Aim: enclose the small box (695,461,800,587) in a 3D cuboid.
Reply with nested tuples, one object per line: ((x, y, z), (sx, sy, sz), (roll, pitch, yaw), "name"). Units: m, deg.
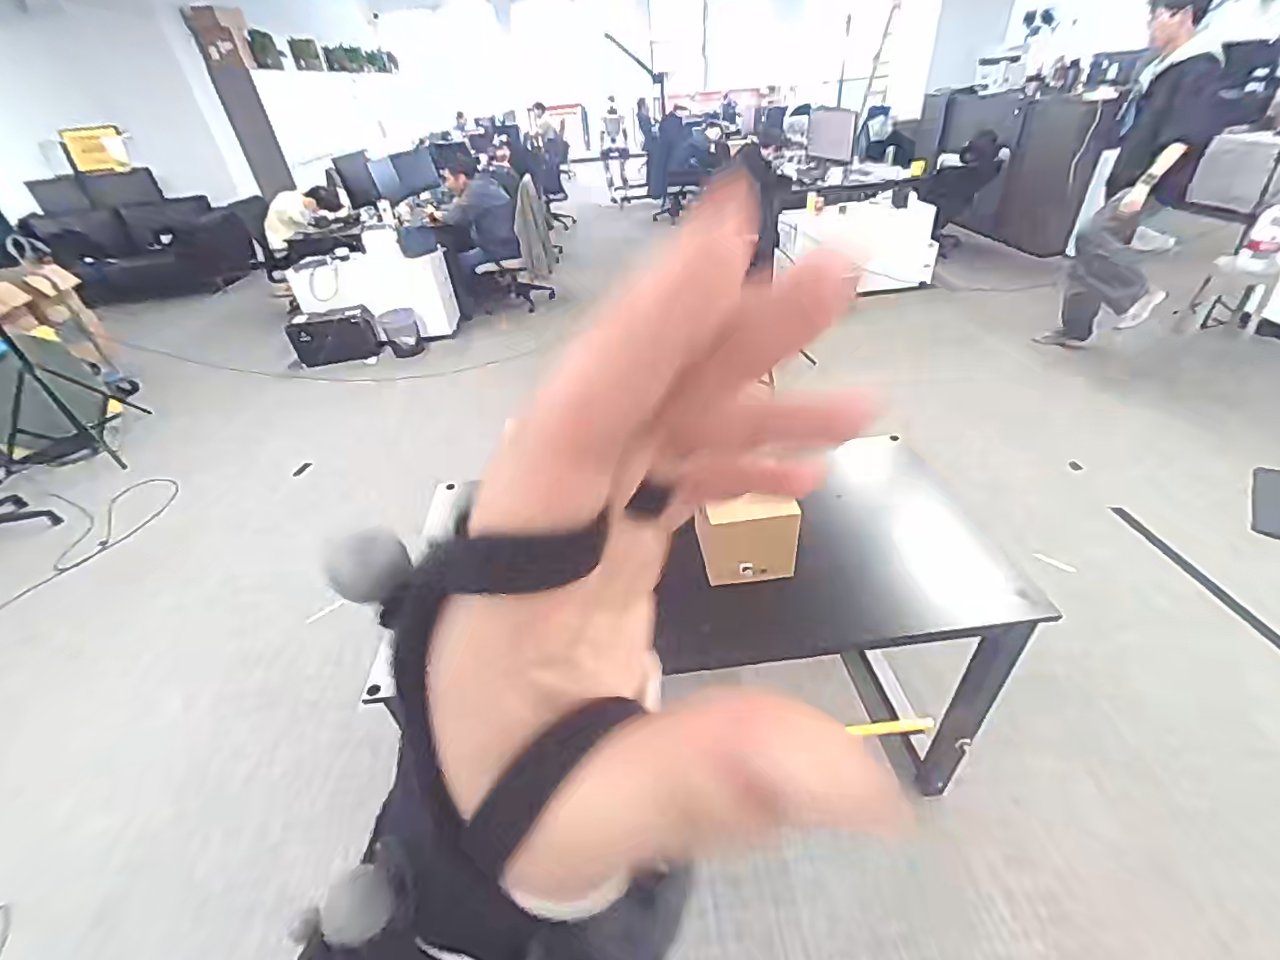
((0.204, 0.087, 1.073), (0.168, 0.176, 0.179), (-8, 37, -1), "small box")
